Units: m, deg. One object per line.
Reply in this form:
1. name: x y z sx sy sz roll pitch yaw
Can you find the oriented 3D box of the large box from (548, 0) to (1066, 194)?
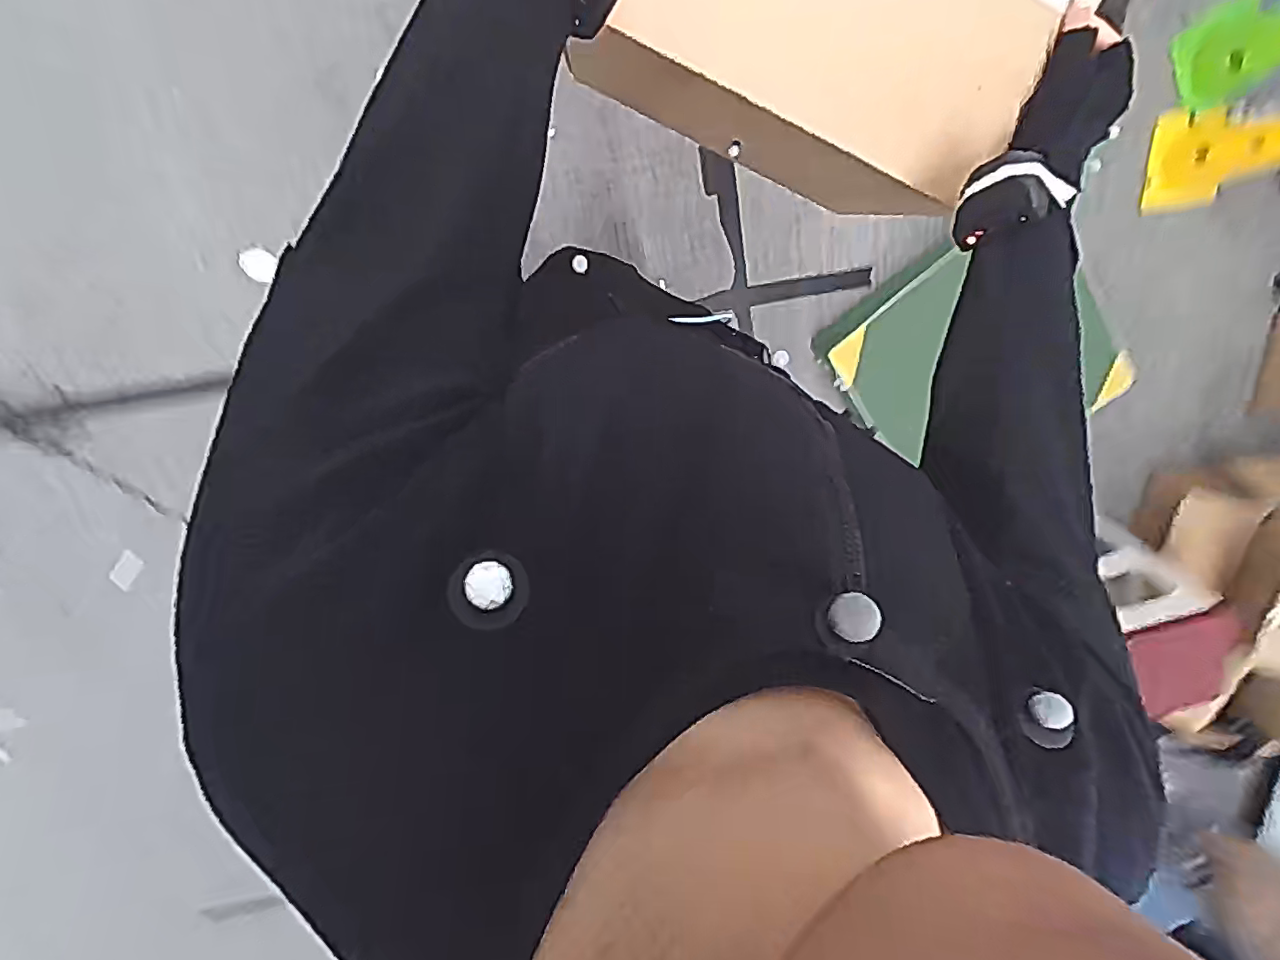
1. large box: 0.157 -0.515 0.530 0.408 0.320 0.320 18 114 -12
